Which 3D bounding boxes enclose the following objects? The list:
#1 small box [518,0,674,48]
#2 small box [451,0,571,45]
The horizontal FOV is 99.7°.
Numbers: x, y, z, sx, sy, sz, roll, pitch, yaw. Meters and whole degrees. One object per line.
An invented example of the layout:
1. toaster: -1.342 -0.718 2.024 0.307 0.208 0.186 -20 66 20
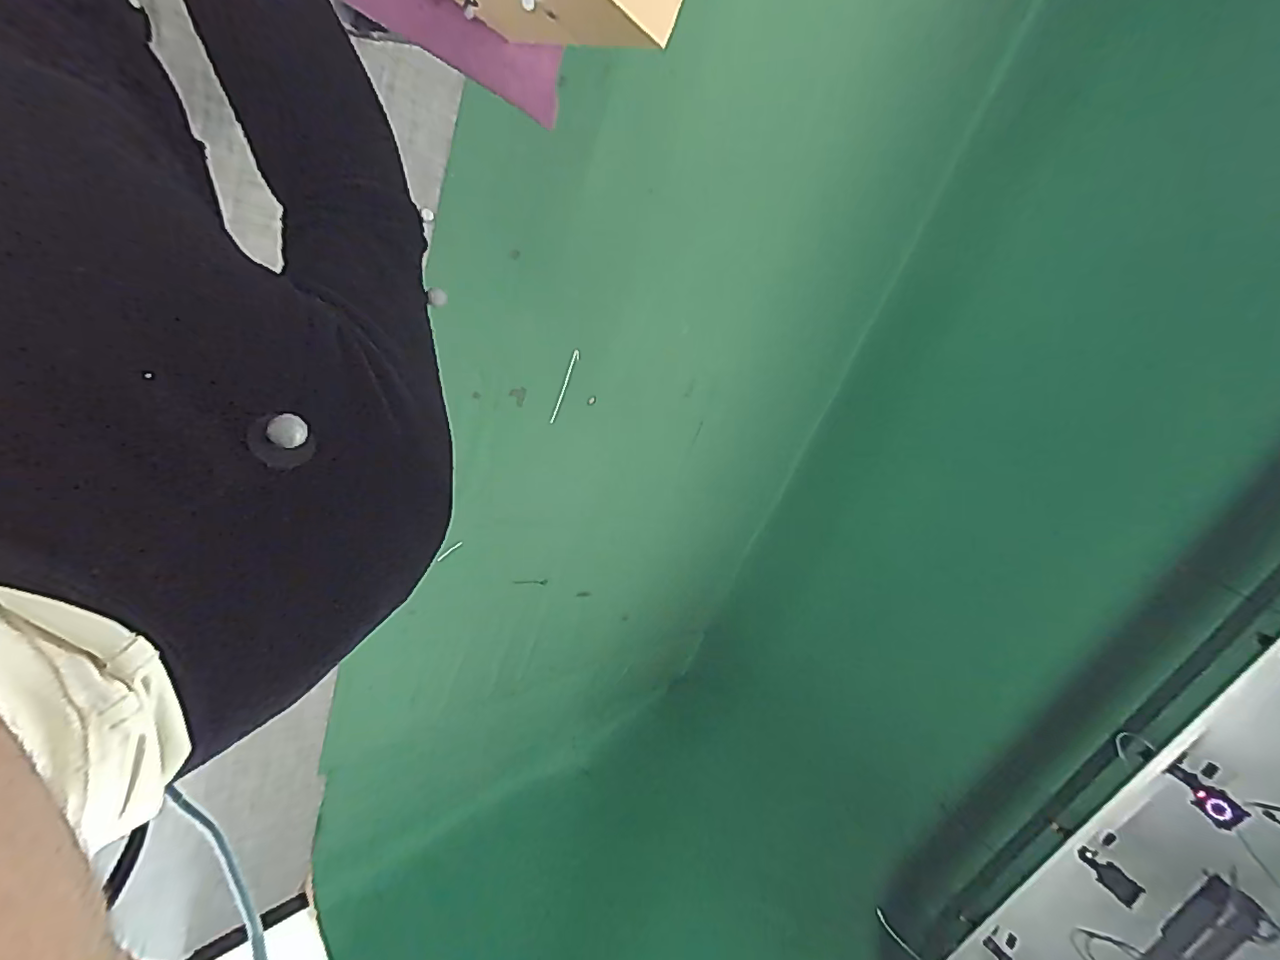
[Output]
1. small box: -0.055 -0.591 0.554 0.168 0.176 0.179 2 119 -48
2. small box: -0.166 -0.667 0.646 0.179 0.176 0.168 0 118 -50
